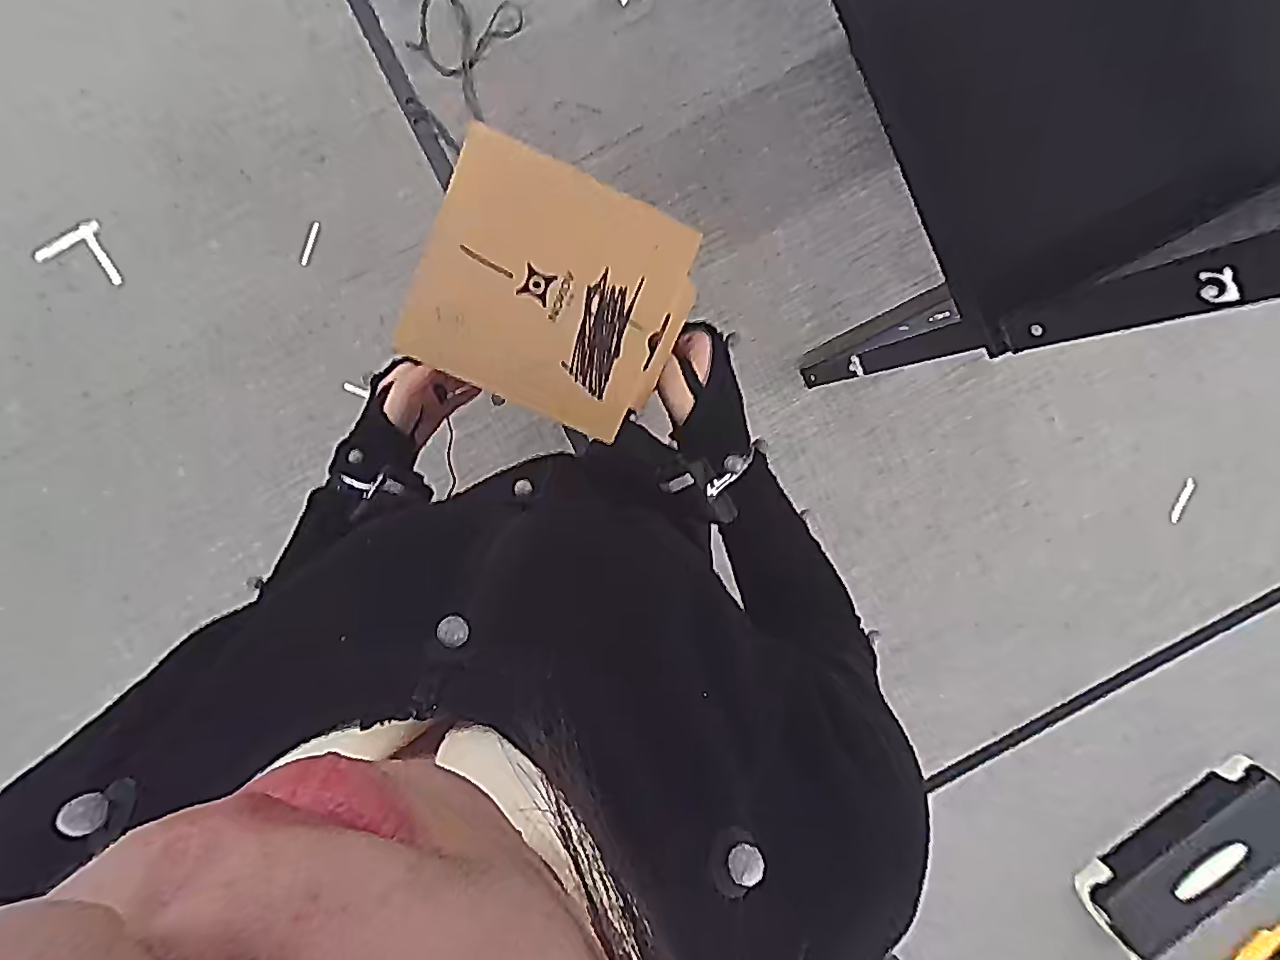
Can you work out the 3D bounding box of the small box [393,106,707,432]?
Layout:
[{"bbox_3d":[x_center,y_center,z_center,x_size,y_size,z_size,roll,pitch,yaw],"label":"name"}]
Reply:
[{"bbox_3d":[-0.073,-0.159,0.458,0.179,0.176,0.168,23,98,-13],"label":"small box"}]
